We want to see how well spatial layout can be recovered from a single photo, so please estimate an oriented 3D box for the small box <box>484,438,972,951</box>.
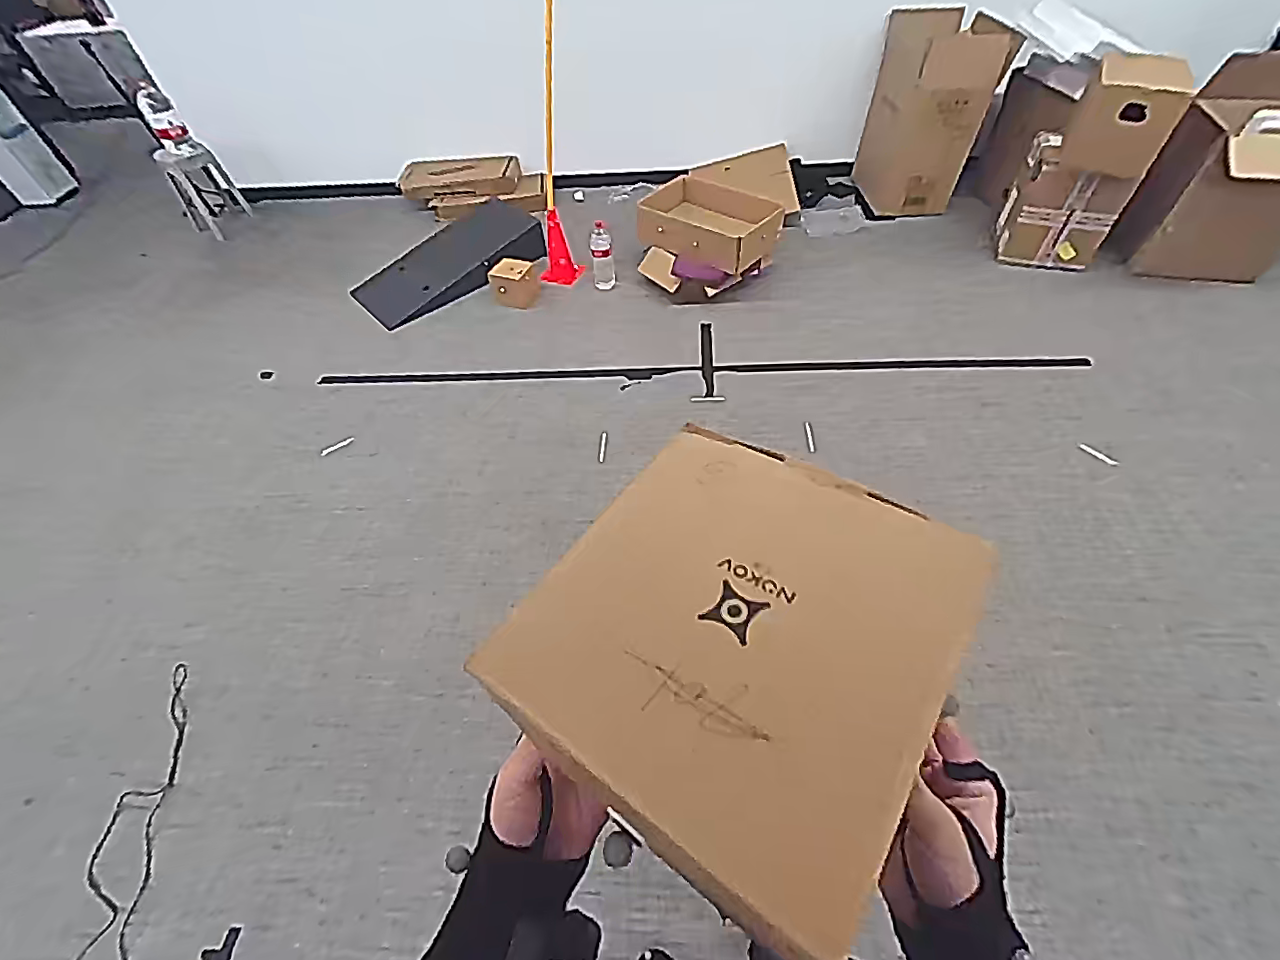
[{"bbox_3d":[0.051,0.112,0.305,0.168,0.176,0.179,24,56,28],"label":"small box"}]
